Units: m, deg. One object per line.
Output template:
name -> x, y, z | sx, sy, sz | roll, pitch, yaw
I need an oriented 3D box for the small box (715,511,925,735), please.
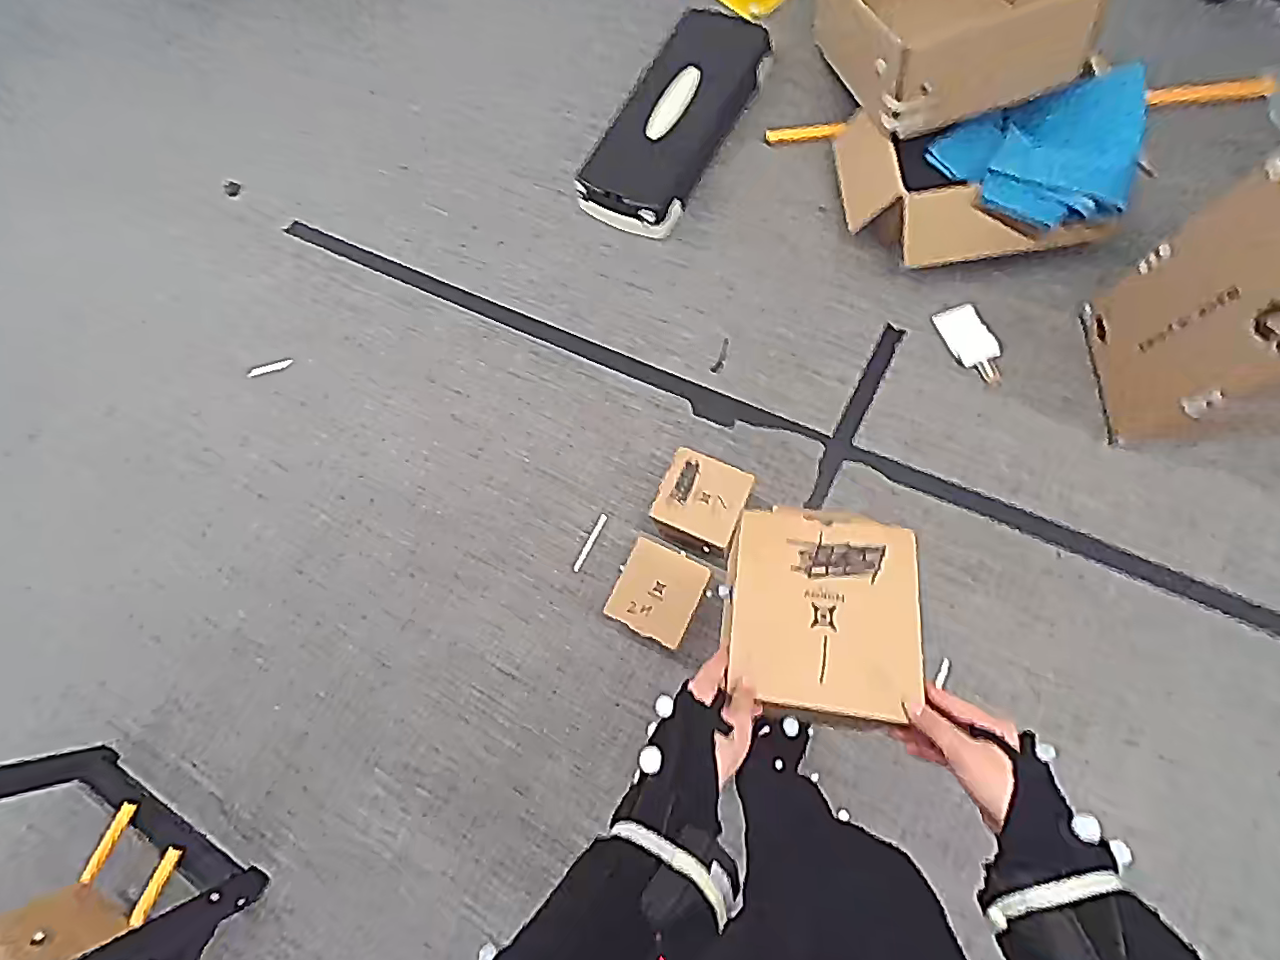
small box -> 0.168, 0.152, 0.554 | 0.168, 0.176, 0.179 | 6, 64, 8

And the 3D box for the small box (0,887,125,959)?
small box -> -1.169, 0.931, 1.034 | 0.179, 0.176, 0.168 | 25, 82, 12
